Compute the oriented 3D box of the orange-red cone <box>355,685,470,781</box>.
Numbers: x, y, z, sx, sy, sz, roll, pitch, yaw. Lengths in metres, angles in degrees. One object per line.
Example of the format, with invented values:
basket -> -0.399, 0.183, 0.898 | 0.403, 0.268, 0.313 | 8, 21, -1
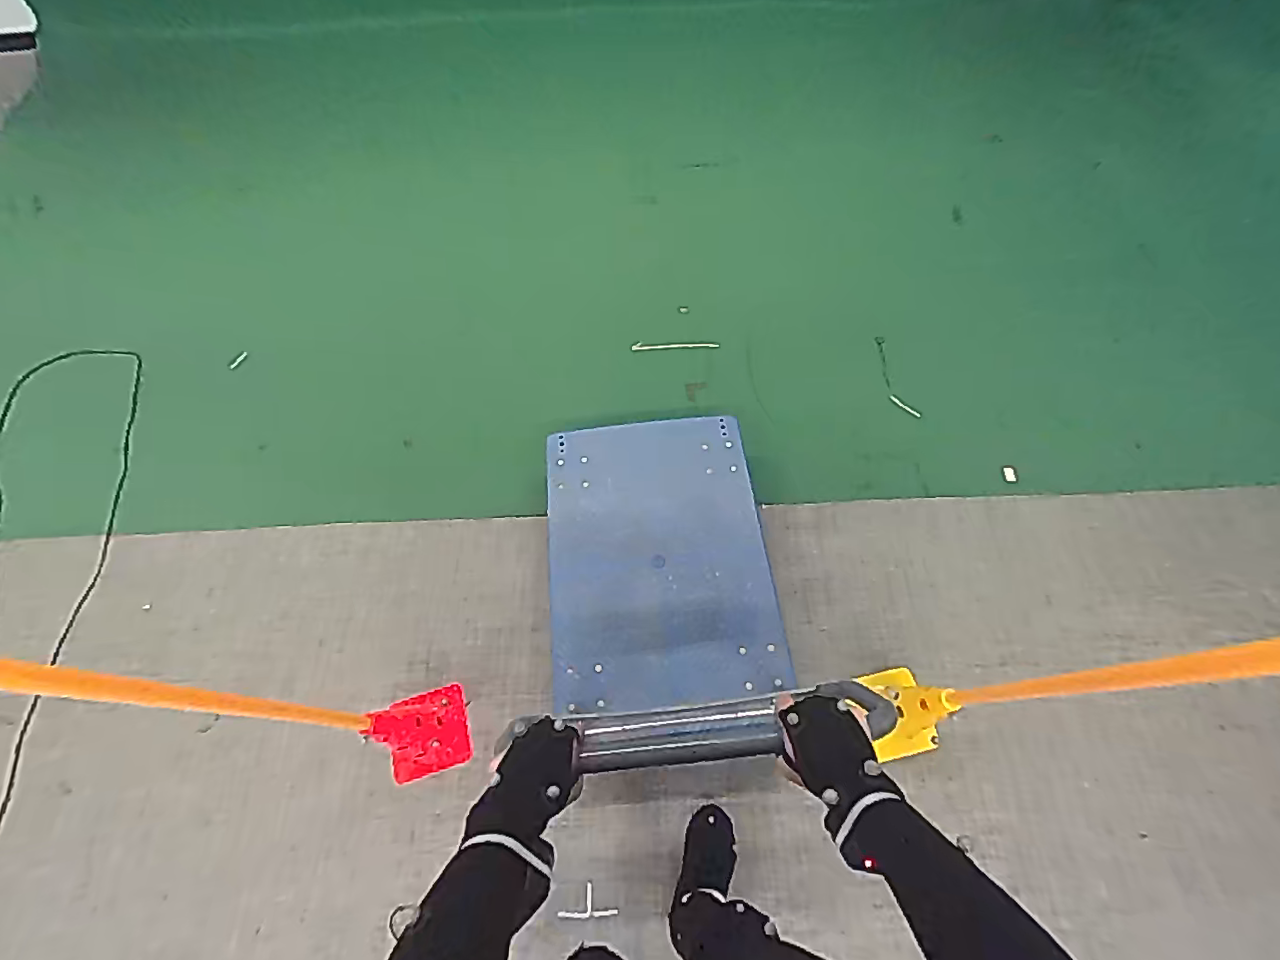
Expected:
orange-red cone -> -0.551, 0.570, 1.243 | 0.199, 0.360, 0.198 | -16, 63, -5
